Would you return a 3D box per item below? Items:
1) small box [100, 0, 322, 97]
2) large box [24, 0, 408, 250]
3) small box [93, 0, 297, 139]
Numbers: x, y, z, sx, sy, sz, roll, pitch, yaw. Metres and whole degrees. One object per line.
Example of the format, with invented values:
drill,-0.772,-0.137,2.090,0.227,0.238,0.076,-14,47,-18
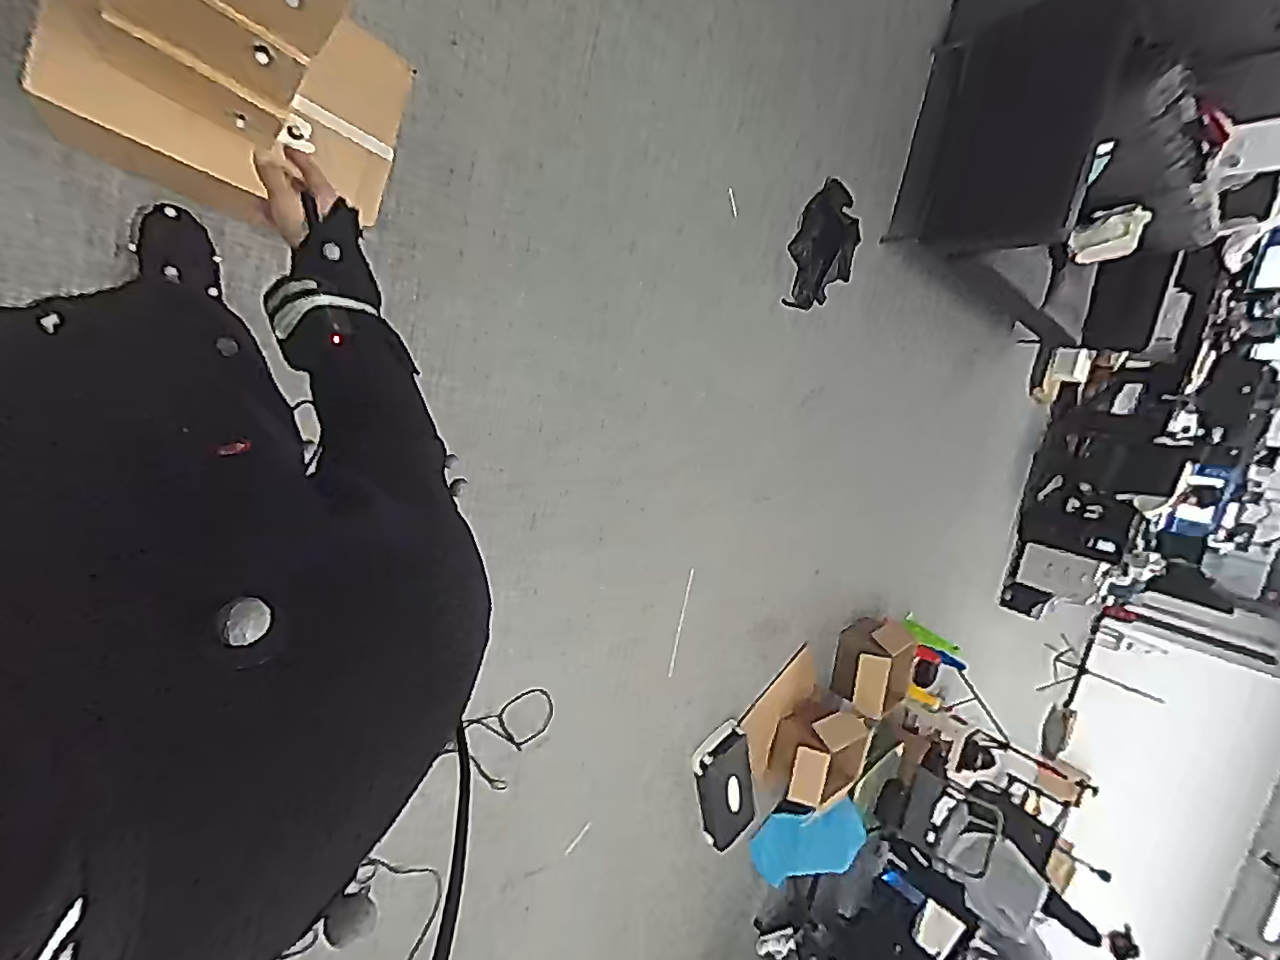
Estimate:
small box,-0.439,-0.545,0.559,0.179,0.176,0.168,14,93,-44
large box,-0.669,-0.622,0.886,0.408,0.320,0.320,13,96,-44
small box,-0.543,-0.566,0.682,0.179,0.176,0.168,15,92,-42
